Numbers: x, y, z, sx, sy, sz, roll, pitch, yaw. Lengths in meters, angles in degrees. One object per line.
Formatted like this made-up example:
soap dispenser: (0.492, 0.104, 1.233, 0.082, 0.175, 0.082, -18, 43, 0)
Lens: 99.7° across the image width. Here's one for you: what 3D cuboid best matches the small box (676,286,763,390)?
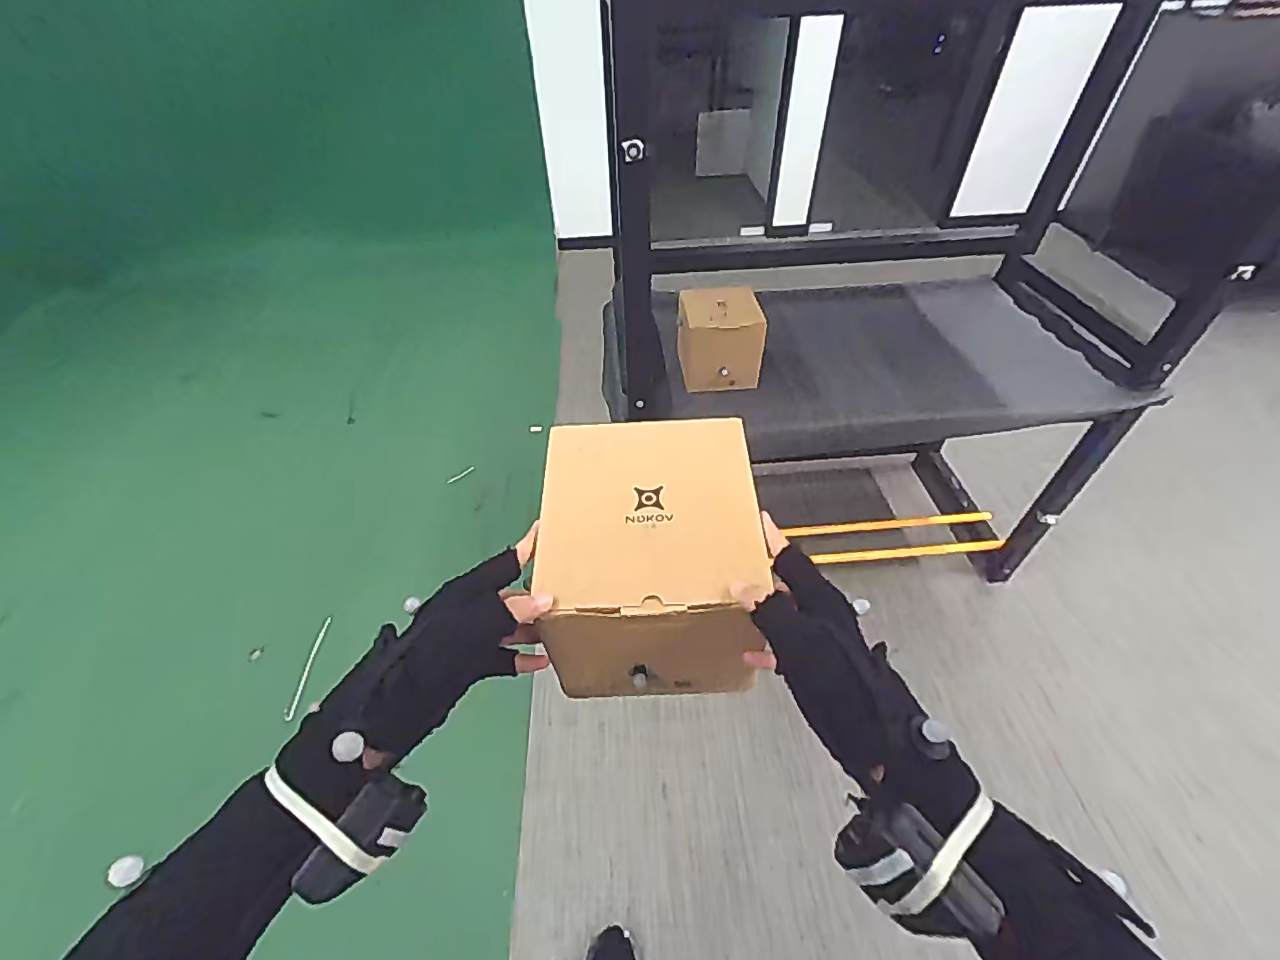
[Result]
small box: (0.175, -0.328, 1.250, 0.168, 0.176, 0.179, -5, 45, -2)
